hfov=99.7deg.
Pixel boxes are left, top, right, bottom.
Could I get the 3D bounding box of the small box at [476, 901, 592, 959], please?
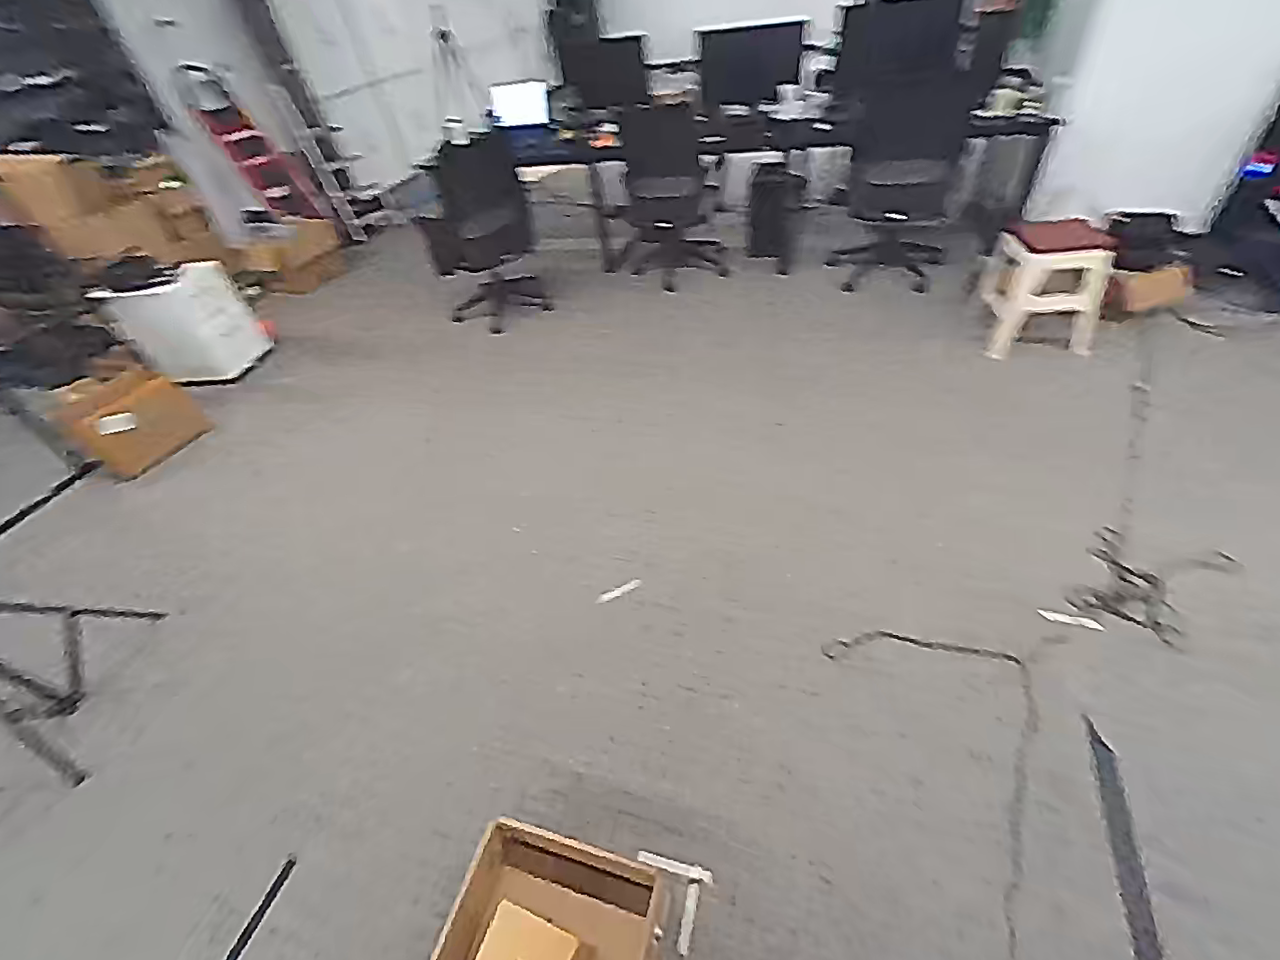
[{"bbox_3d":[-0.214,0.963,1.047,0.179,0.176,0.168,11,48,21],"label":"small box"}]
